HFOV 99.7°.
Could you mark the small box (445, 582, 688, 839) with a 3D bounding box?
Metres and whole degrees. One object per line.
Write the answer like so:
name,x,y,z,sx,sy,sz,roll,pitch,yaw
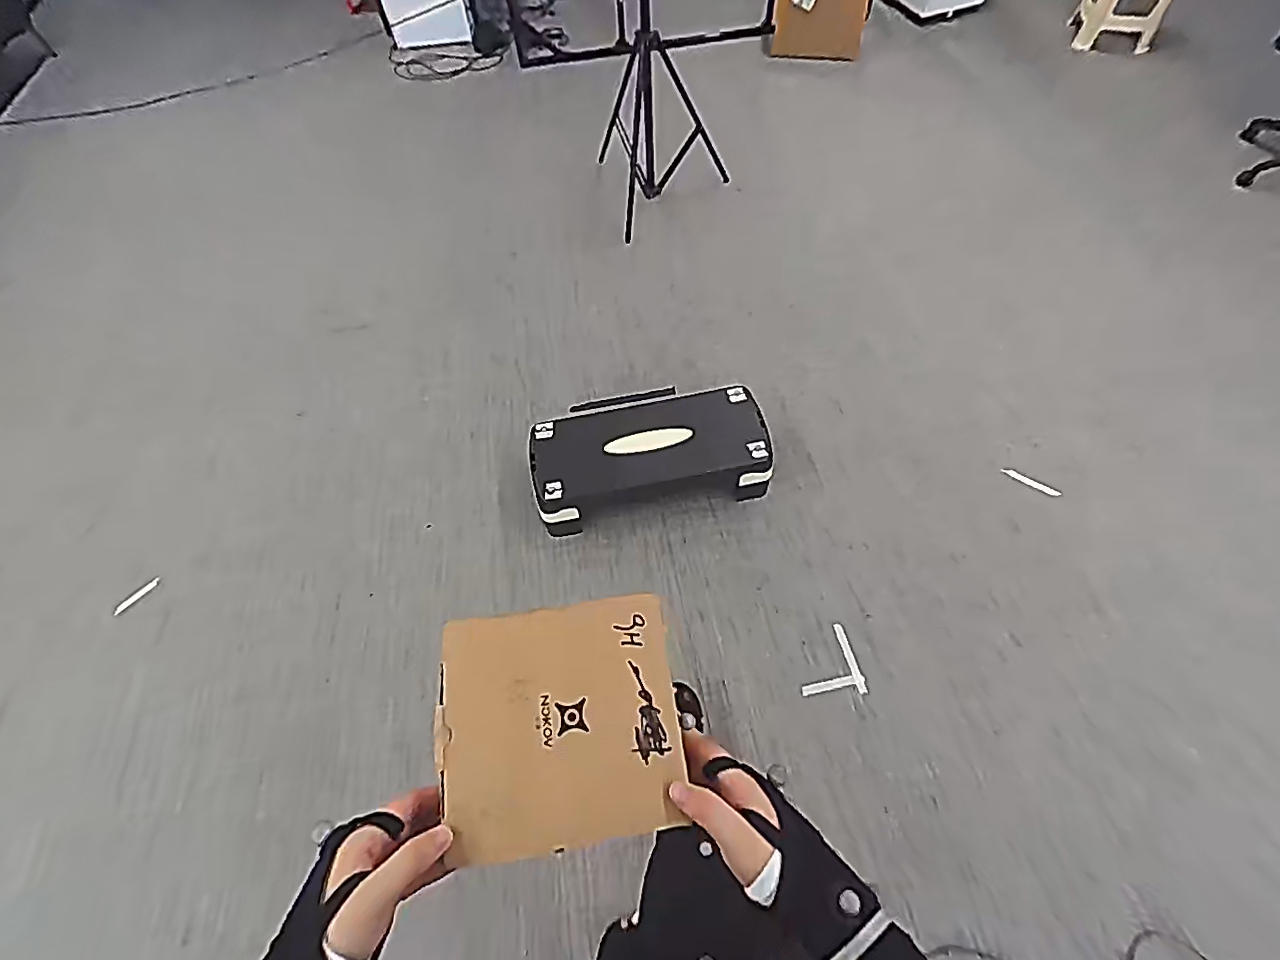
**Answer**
small box,-0.062,0.202,0.486,0.179,0.176,0.168,-7,66,-5
